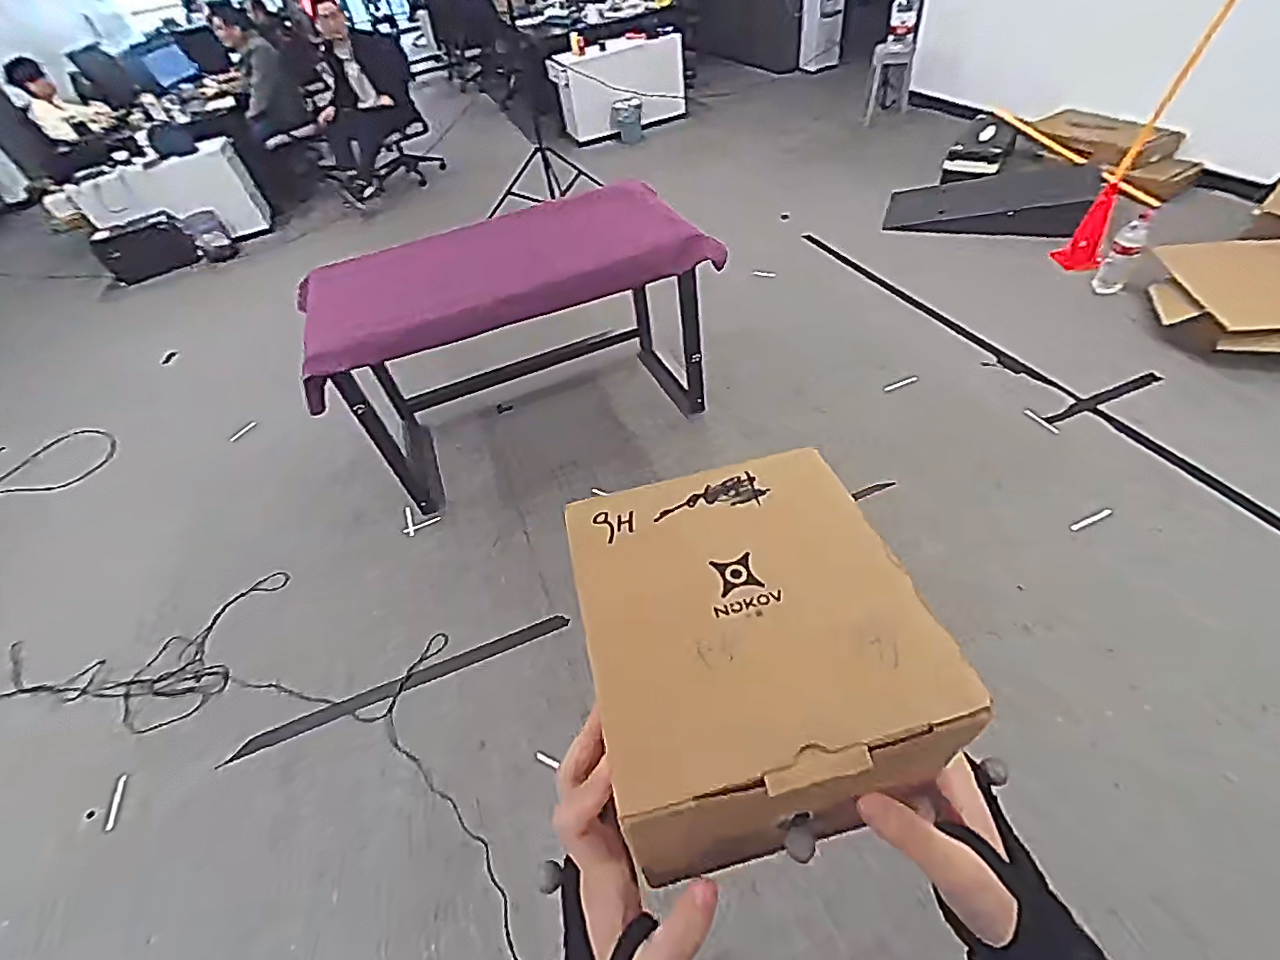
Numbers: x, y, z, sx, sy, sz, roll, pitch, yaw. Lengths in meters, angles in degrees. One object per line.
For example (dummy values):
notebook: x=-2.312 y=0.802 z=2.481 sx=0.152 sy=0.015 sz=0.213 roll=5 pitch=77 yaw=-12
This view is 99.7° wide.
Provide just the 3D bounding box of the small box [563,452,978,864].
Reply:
small box: x=0.058 y=0.114 z=0.339 sx=0.168 sy=0.176 sz=0.179 roll=-13 pitch=46 yaw=-6
